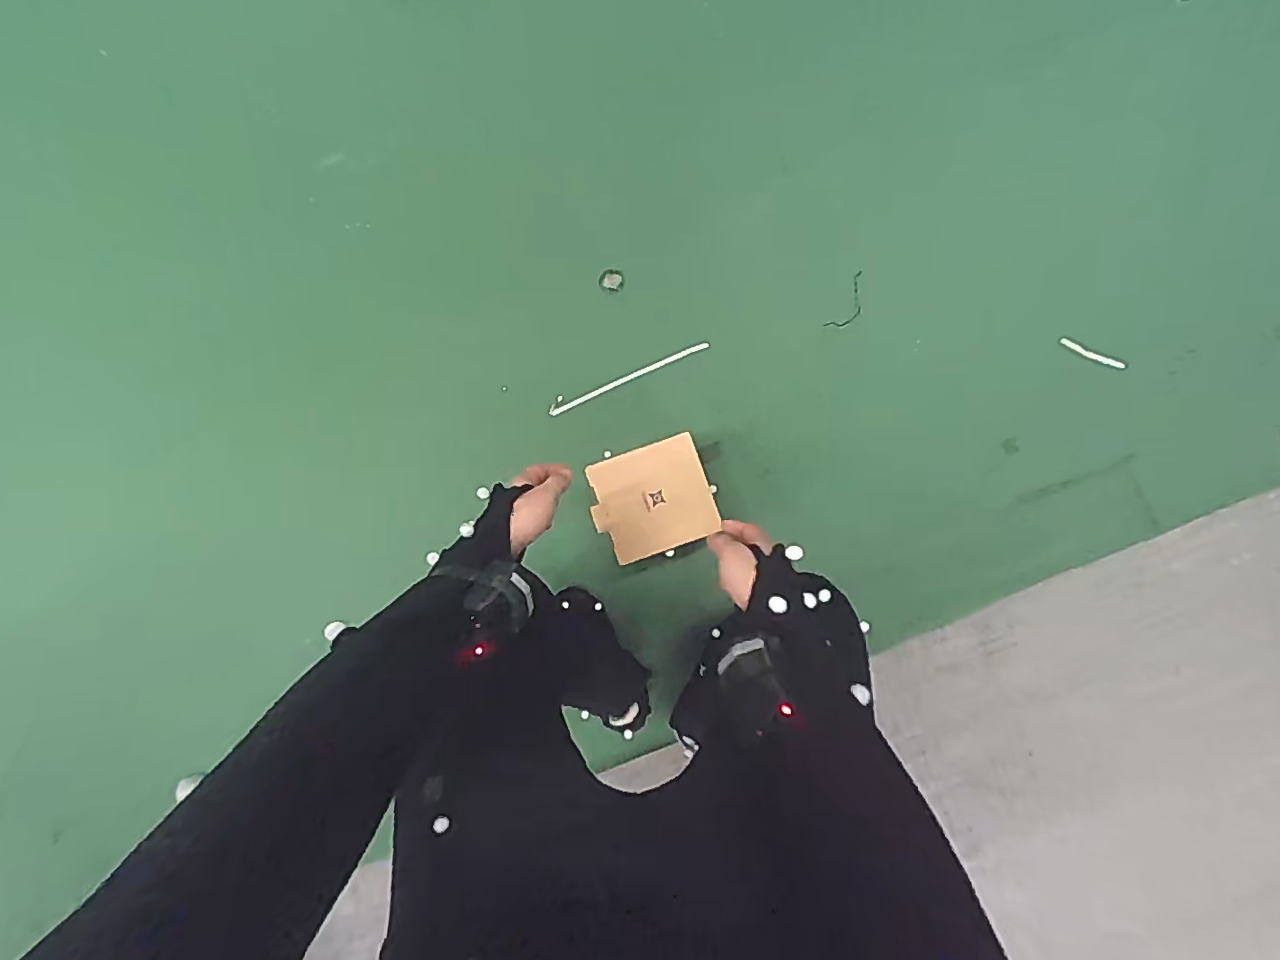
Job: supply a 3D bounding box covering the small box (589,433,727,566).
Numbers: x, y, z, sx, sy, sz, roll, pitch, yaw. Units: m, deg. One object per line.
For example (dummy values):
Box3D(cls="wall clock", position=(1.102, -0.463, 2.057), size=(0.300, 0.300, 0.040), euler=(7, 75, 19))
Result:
Box3D(cls="small box", position=(0.030, 0.027, 0.913), size=(0.179, 0.176, 0.168), euler=(-20, 91, 3))
